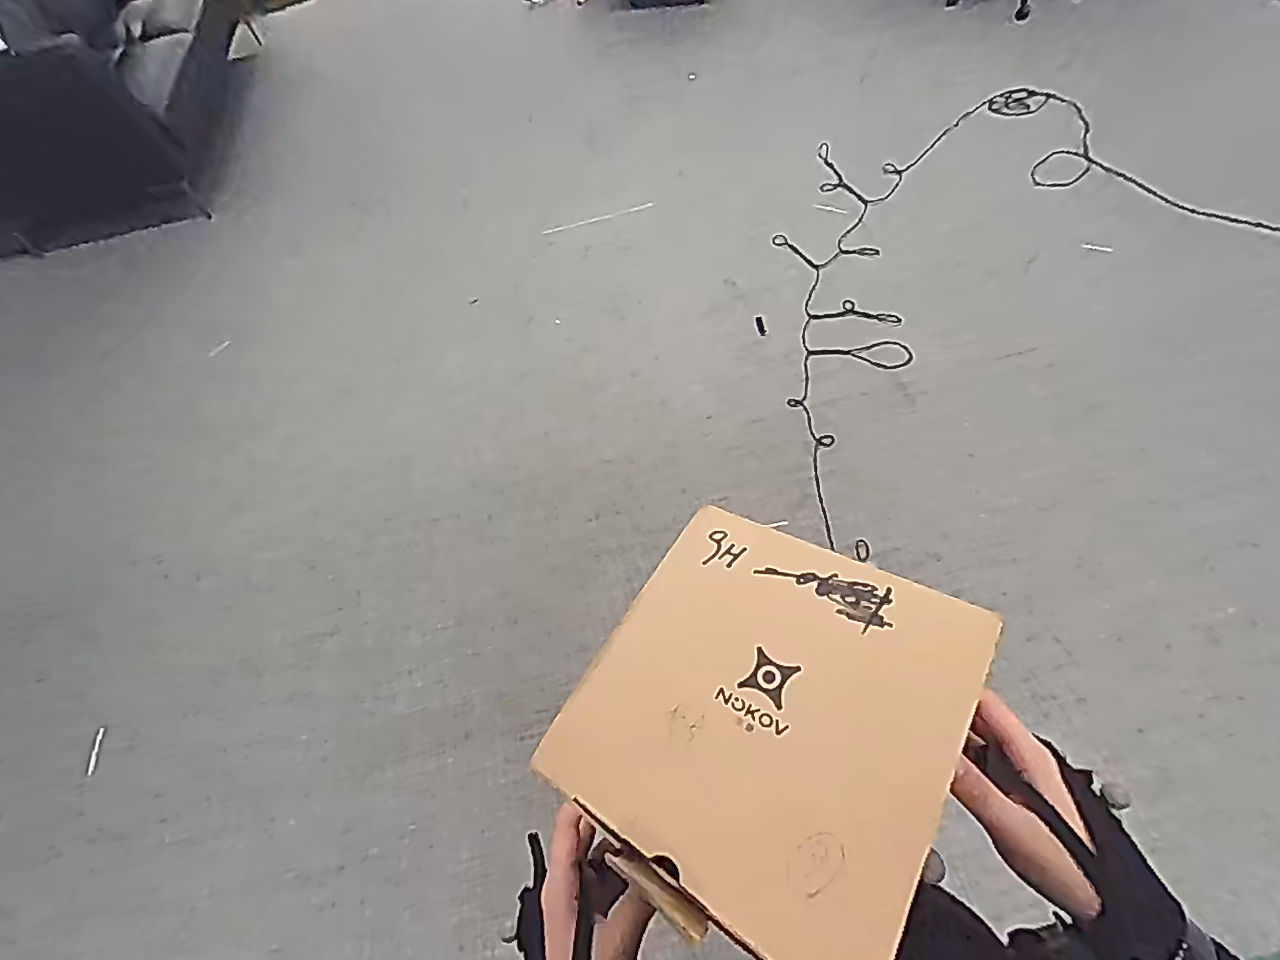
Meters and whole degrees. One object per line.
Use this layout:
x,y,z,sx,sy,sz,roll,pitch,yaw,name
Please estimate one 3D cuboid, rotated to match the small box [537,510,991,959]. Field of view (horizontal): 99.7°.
0.078,0.154,0.323,0.168,0.176,0.179,21,62,32,small box
